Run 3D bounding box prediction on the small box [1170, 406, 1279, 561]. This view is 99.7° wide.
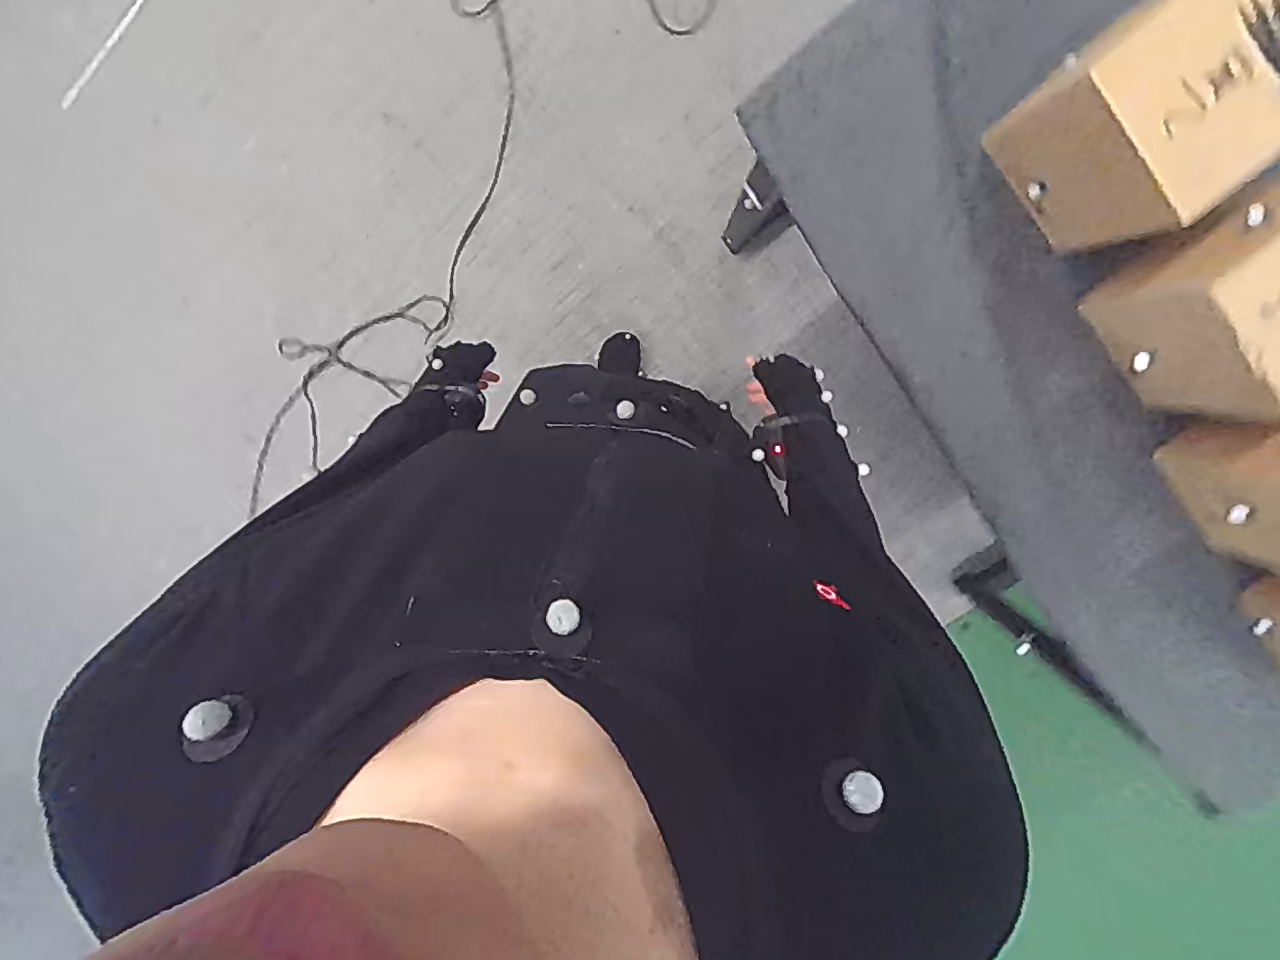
[{"bbox_3d":[0.765,-0.011,0.605,0.179,0.176,0.168,-40,98,10],"label":"small box"}]

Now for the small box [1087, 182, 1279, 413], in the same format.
[{"bbox_3d":[0.640,-0.193,0.565,0.179,0.176,0.168,-41,98,11],"label":"small box"}]

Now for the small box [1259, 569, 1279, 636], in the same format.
[{"bbox_3d":[0.916,0.173,0.639,0.179,0.176,0.168,-41,98,10],"label":"small box"}]
